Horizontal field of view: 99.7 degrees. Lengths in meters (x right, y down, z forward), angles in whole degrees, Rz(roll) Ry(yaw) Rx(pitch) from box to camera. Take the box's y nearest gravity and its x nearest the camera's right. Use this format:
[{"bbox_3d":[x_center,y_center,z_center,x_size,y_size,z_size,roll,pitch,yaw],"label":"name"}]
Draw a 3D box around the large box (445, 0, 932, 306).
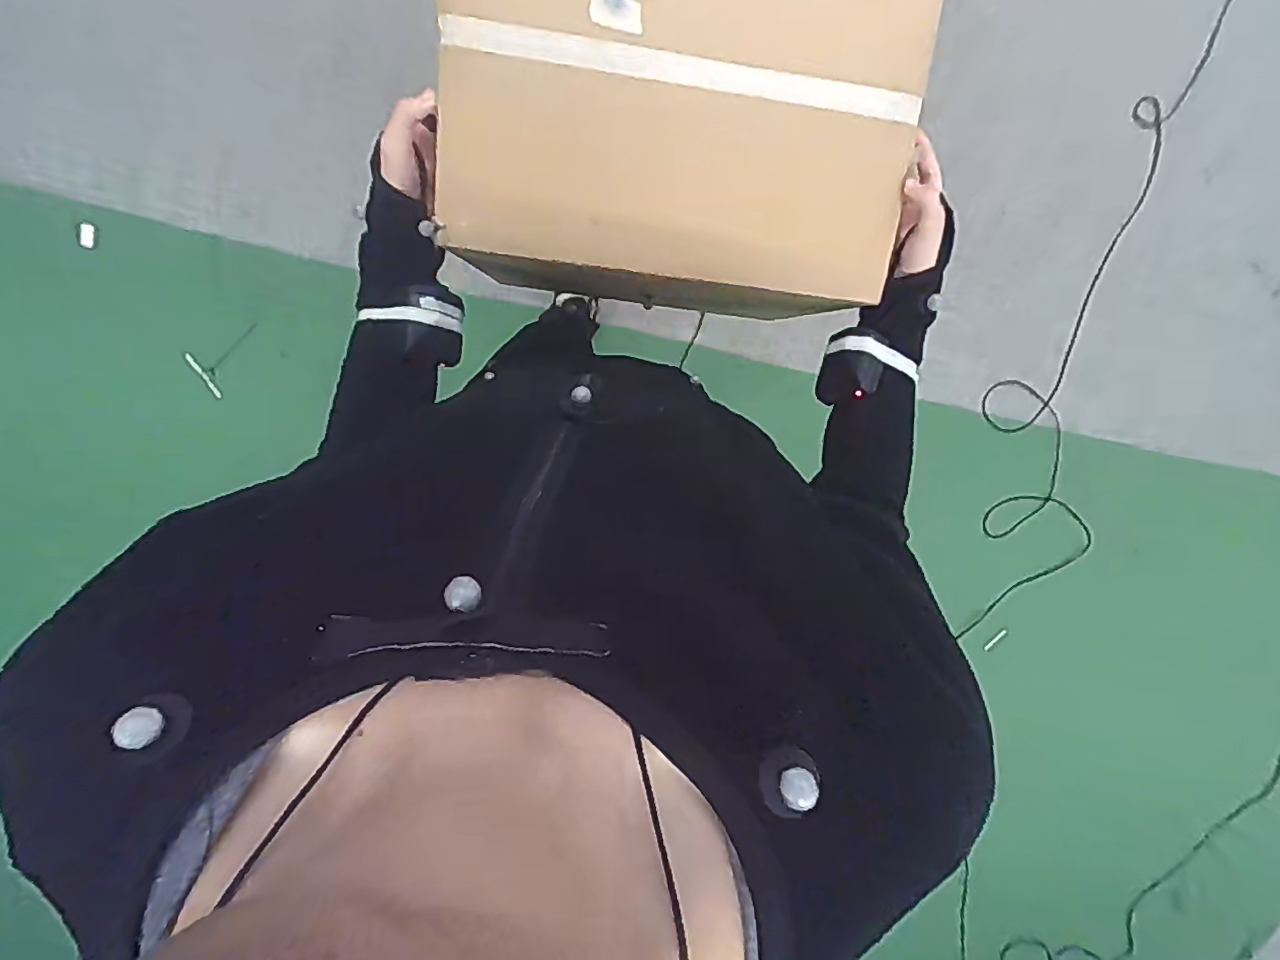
[{"bbox_3d":[0.032,-0.377,0.601,0.408,0.320,0.320,6,103,-6],"label":"large box"}]
